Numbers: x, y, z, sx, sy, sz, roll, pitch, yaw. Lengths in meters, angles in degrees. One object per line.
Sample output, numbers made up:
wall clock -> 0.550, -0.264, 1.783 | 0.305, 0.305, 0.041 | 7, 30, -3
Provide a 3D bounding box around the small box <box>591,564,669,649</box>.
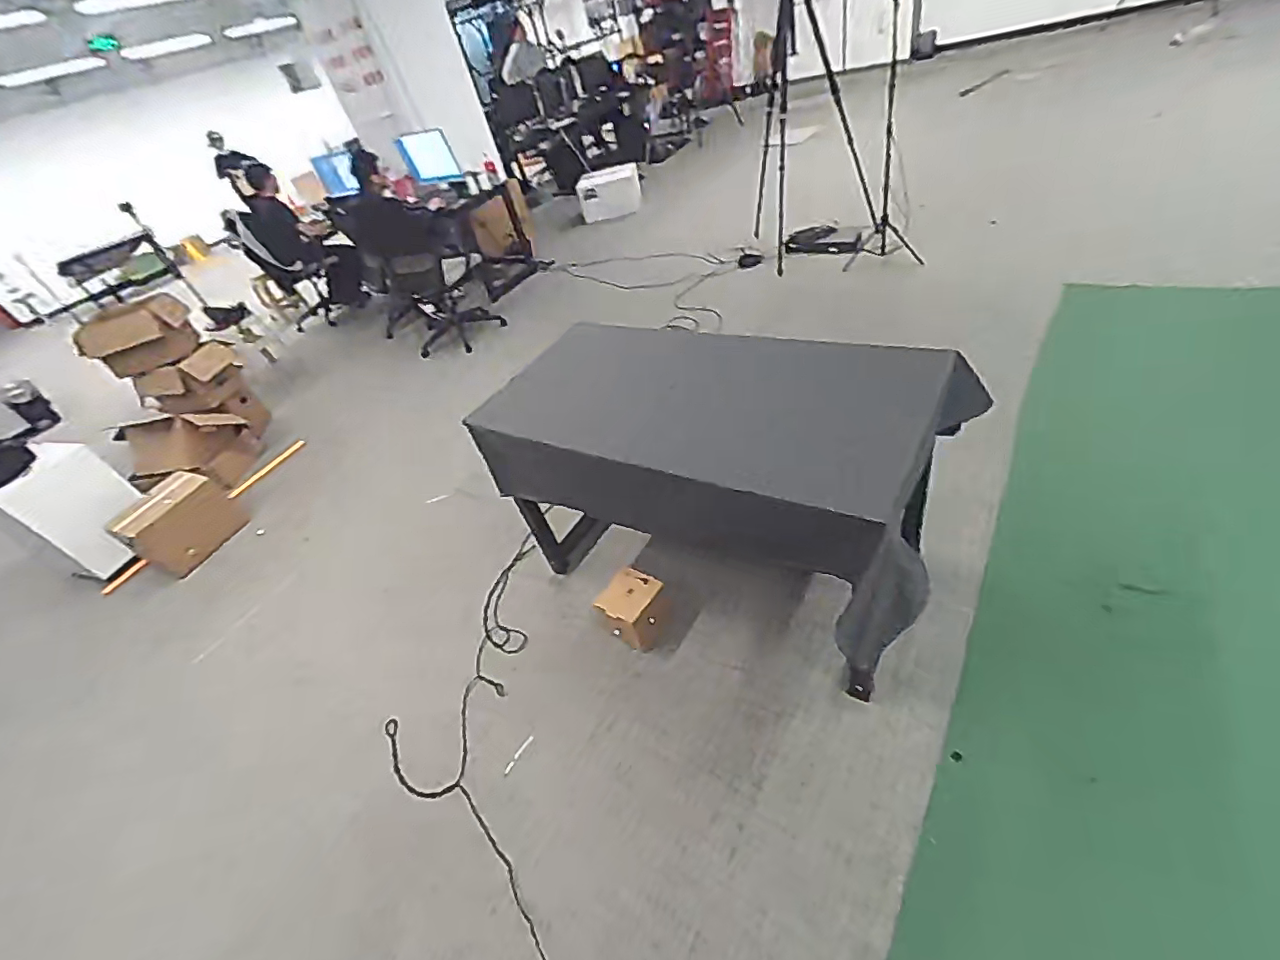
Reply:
small box -> -0.025, 0.414, 1.757 | 0.168, 0.176, 0.179 | 19, 52, 35
